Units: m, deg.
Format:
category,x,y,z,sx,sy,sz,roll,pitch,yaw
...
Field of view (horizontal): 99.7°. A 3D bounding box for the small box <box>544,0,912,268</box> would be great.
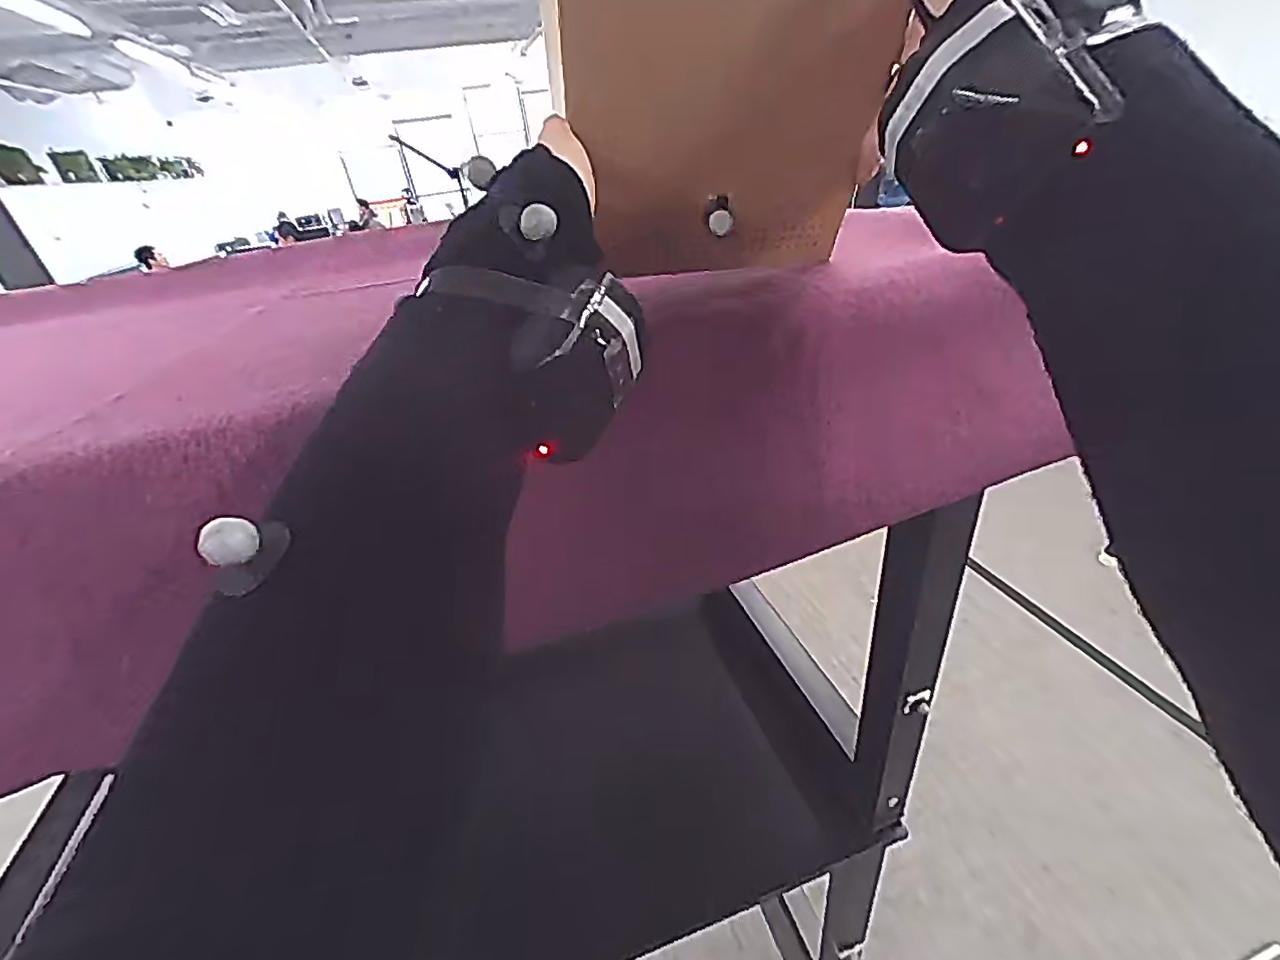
category,x,y,z,sx,sy,sz,roll,pitch,yaw
small box,0.034,-0.257,0.340,0.179,0.176,0.168,-8,53,-6
